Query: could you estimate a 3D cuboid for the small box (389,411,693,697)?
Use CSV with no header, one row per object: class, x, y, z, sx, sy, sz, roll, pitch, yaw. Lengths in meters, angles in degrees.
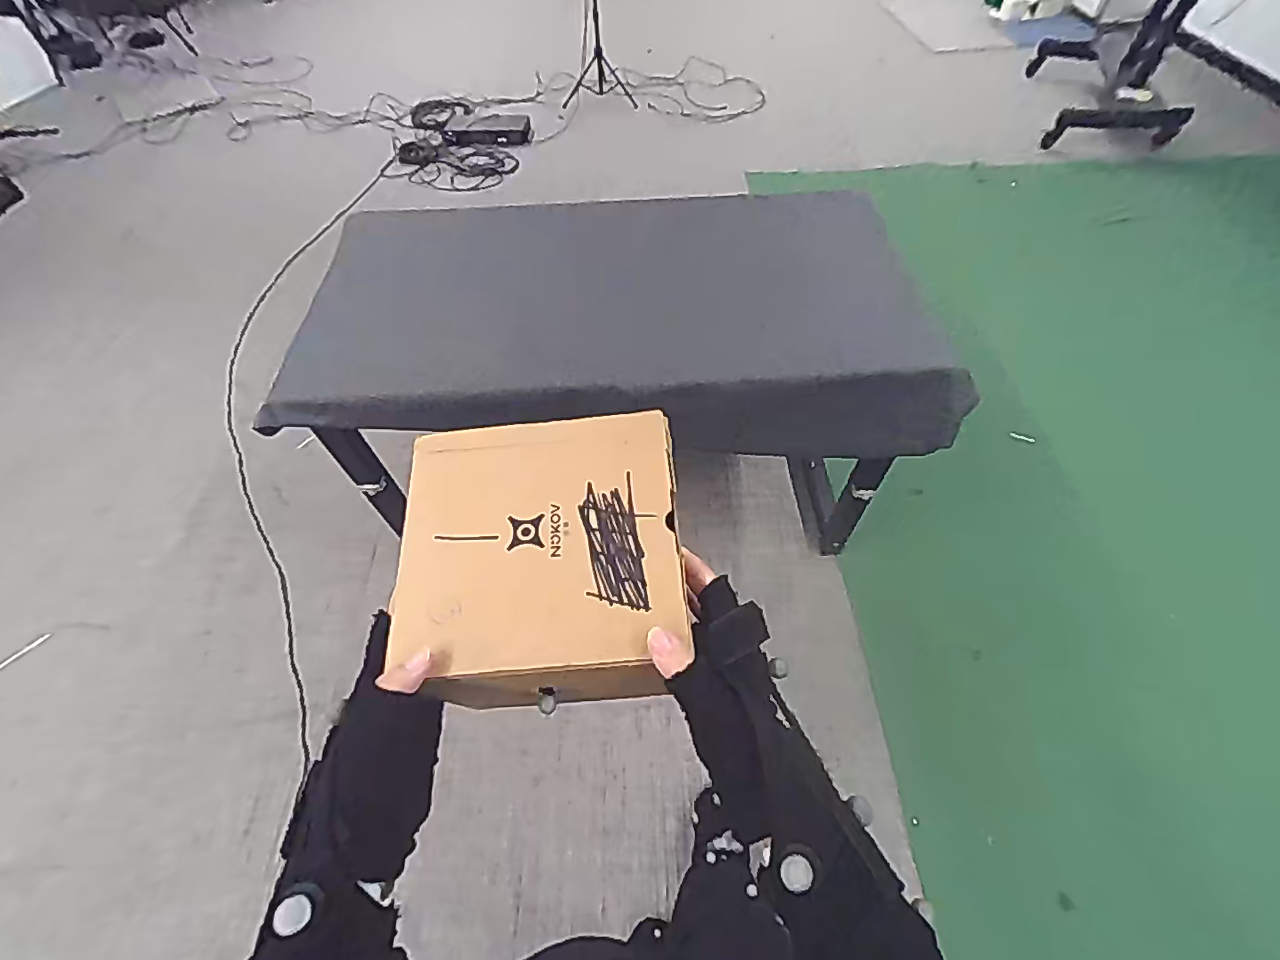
small box,-0.059,0.066,0.413,0.179,0.176,0.168,-5,62,1
